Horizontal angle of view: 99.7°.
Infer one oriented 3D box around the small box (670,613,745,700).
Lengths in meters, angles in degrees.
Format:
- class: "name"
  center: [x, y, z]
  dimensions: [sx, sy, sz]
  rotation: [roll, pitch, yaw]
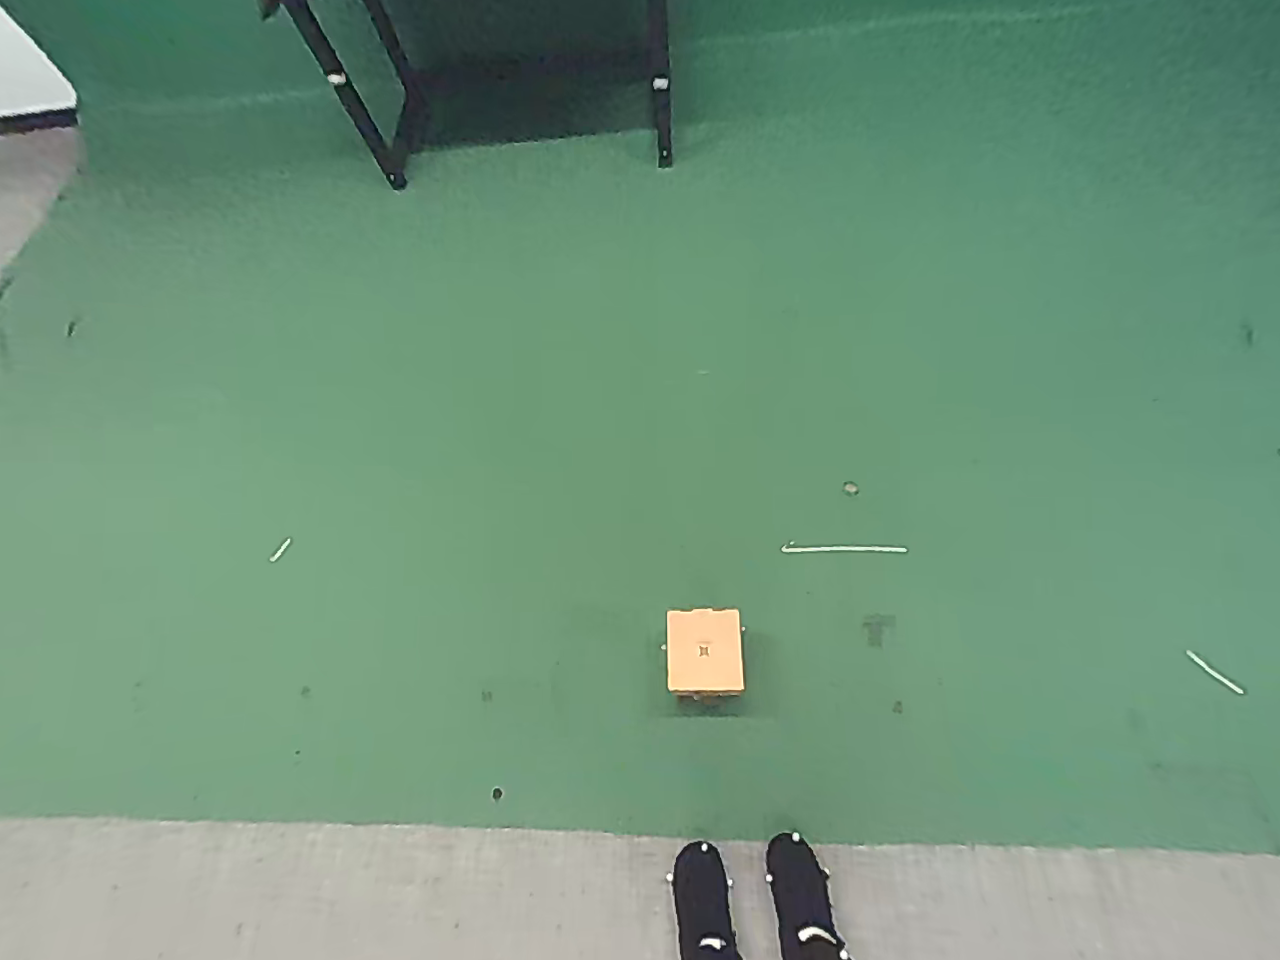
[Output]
- class: "small box"
  center: [0.159, 0.417, 1.266]
  dimensions: [0.168, 0.176, 0.179]
  rotation: [-3, 63, 7]
